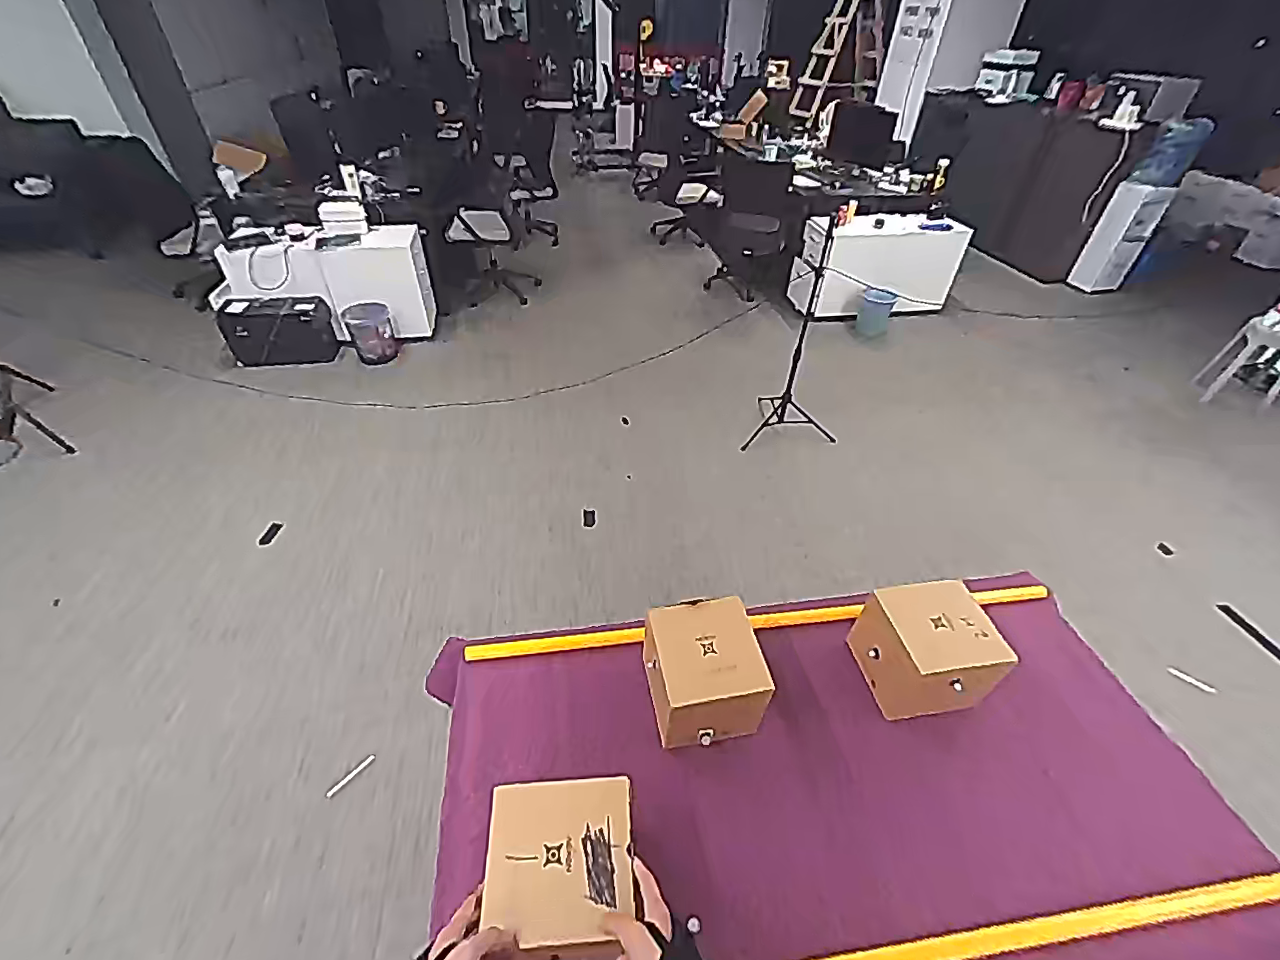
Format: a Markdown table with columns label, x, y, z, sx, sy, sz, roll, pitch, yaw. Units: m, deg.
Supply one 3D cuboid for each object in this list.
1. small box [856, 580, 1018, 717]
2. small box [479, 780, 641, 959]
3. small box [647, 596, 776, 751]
| label | x | y | z | sx | sy | sz | roll | pitch | yaw |
| --- | --- | --- | --- | --- | --- | --- | --- | --- | --- |
| small box | 0.506 | 0.301 | 0.961 | 0.179 | 0.176 | 0.168 | -5 | 43 | -8 |
| small box | -0.095 | 0.505 | 0.694 | 0.179 | 0.176 | 0.168 | -1 | 42 | -5 |
| small box | 0.108 | 0.325 | 0.916 | 0.168 | 0.176 | 0.179 | -7 | 43 | -9 |
